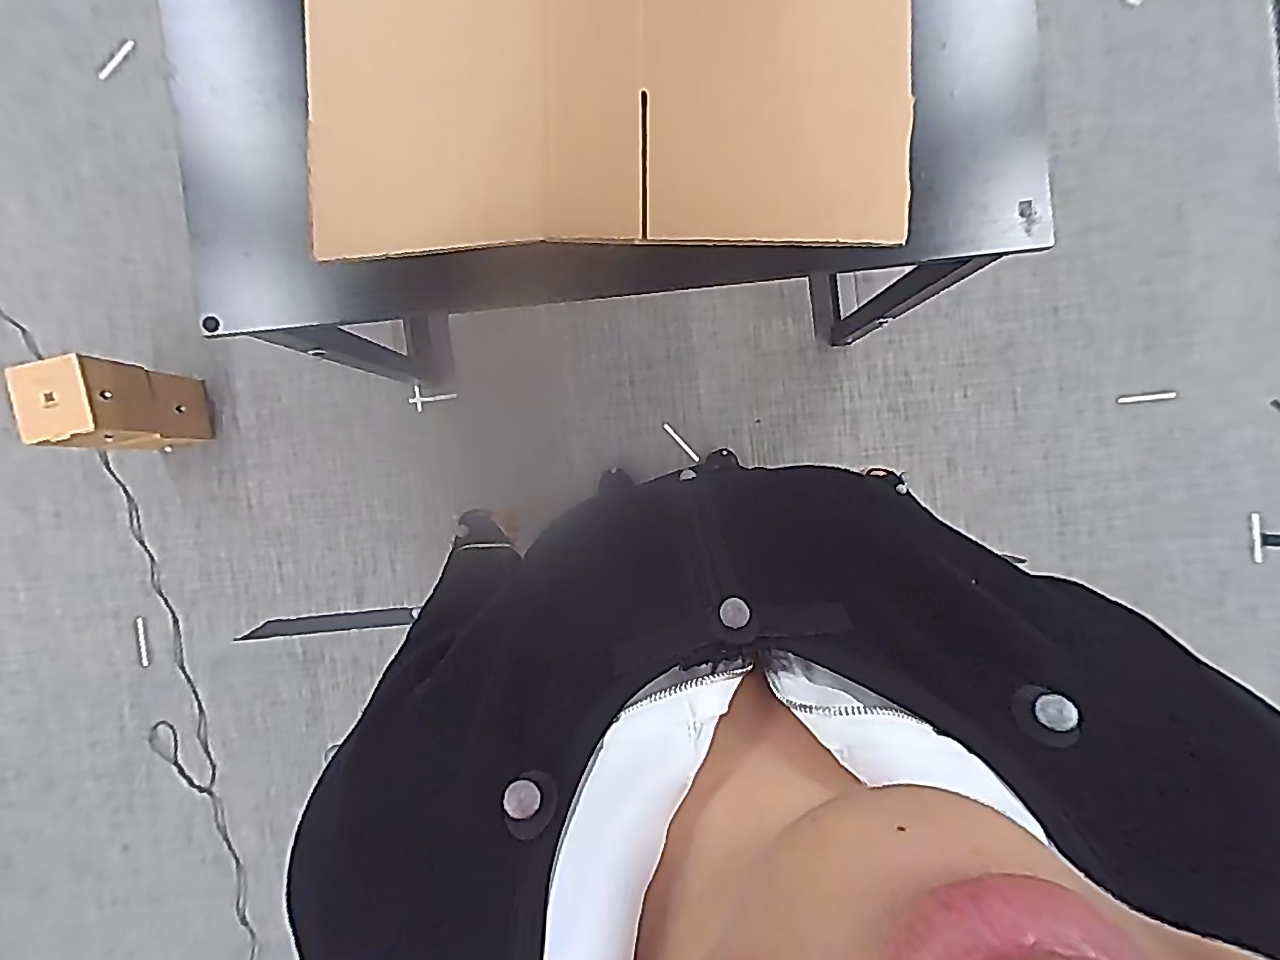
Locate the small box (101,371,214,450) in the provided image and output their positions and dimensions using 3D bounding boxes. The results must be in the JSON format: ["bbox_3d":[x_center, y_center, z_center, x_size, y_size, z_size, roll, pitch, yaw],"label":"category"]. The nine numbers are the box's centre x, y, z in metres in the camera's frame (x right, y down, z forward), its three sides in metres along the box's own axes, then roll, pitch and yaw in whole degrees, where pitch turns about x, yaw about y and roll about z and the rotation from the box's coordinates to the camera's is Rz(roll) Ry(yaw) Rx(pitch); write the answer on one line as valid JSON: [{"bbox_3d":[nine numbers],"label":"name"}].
[{"bbox_3d":[-1.283,-0.178,1.432,0.168,0.176,0.179,-10,92,1],"label":"small box"}]

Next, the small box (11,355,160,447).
[{"bbox_3d":[-1.286,-0.178,1.269,0.168,0.176,0.179,-12,91,1],"label":"small box"}]
